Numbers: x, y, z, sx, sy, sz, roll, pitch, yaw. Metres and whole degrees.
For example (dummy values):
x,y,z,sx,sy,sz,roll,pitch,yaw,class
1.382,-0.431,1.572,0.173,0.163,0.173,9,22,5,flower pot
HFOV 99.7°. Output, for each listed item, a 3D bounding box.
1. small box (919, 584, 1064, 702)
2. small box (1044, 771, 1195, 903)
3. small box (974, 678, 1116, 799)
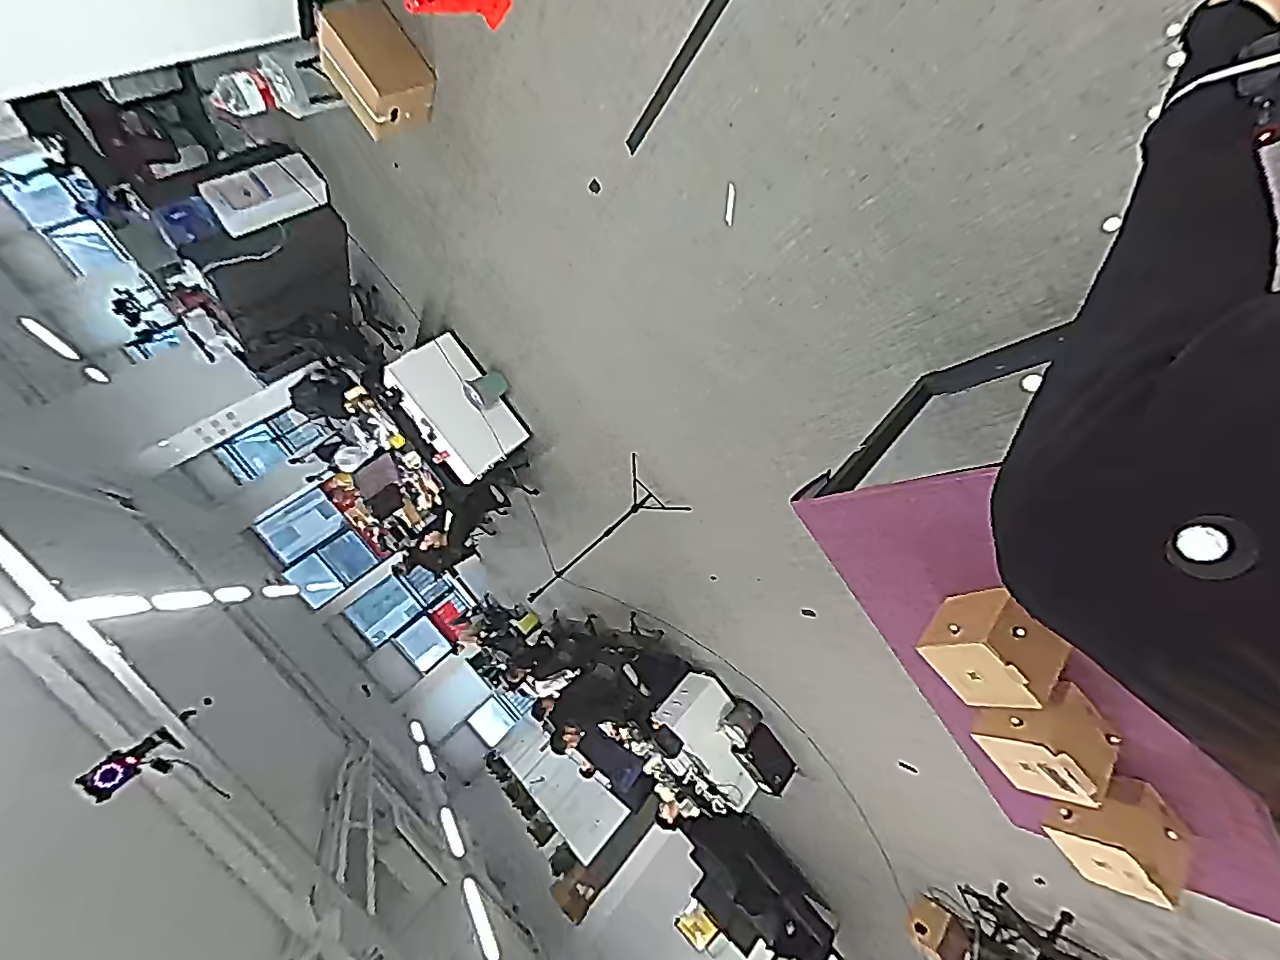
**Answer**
x,y,z,sx,sy,sz,roll,pitch,yaw,class
0.735,0.335,1.125,0.168,0.176,0.179,48,154,3,small box
1.059,0.766,1.196,0.168,0.176,0.179,49,153,-1,small box
0.883,0.546,1.174,0.168,0.176,0.179,49,154,1,small box
